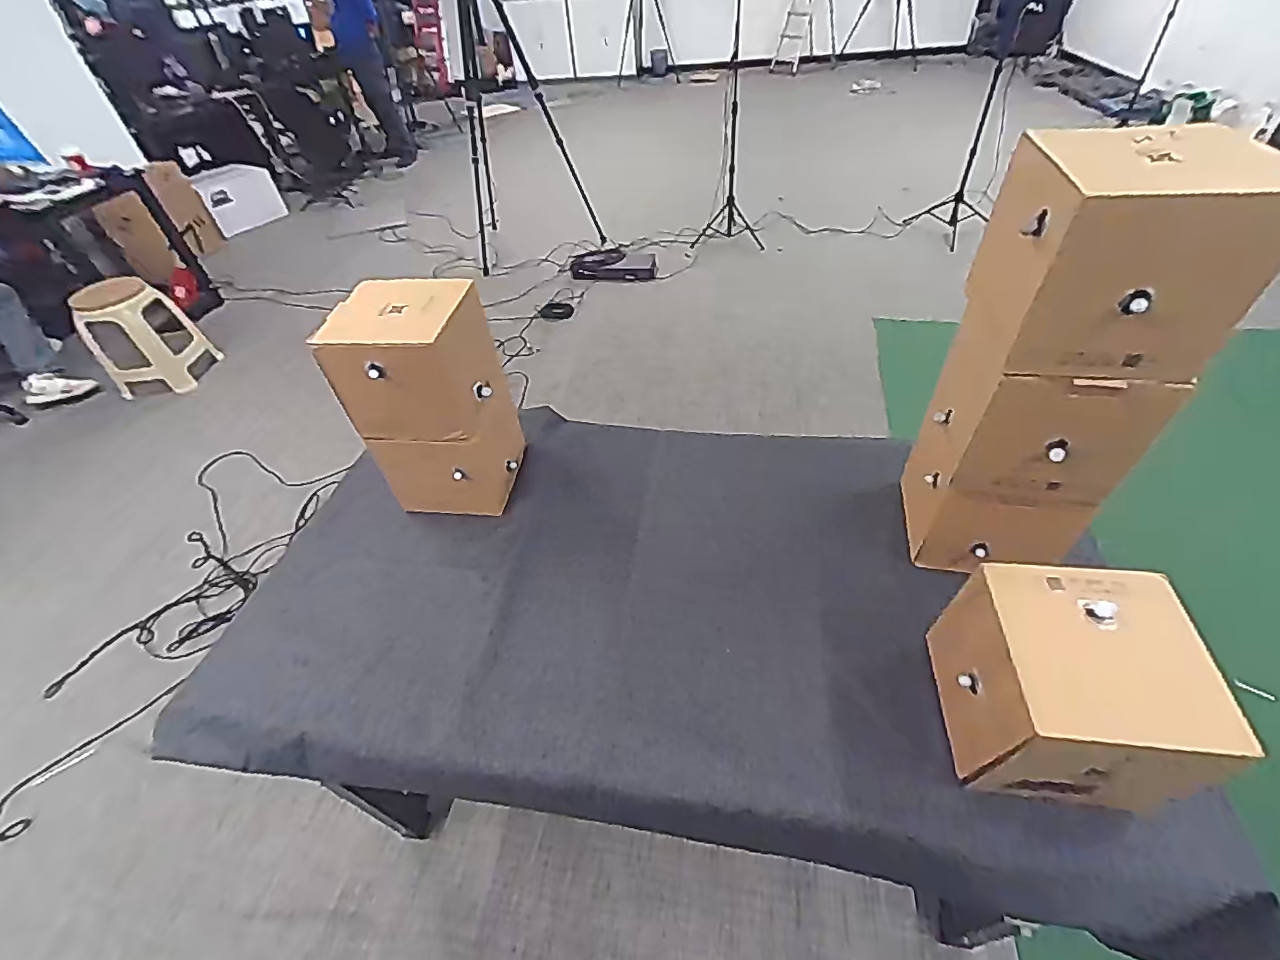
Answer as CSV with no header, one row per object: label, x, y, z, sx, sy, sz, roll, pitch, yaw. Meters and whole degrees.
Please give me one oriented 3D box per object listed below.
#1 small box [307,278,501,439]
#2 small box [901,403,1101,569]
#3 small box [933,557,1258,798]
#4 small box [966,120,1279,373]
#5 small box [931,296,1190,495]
small box,-0.324,-0.174,0.784,0.179,0.176,0.168,2,48,6
small box,0.477,0.007,0.751,0.168,0.176,0.179,6,48,12
small box,0.418,0.198,0.544,0.168,0.179,0.176,2,49,8
small box,0.440,-0.217,0.514,0.168,0.176,0.179,5,47,11
small box,0.460,-0.102,0.631,0.168,0.176,0.179,6,48,12
